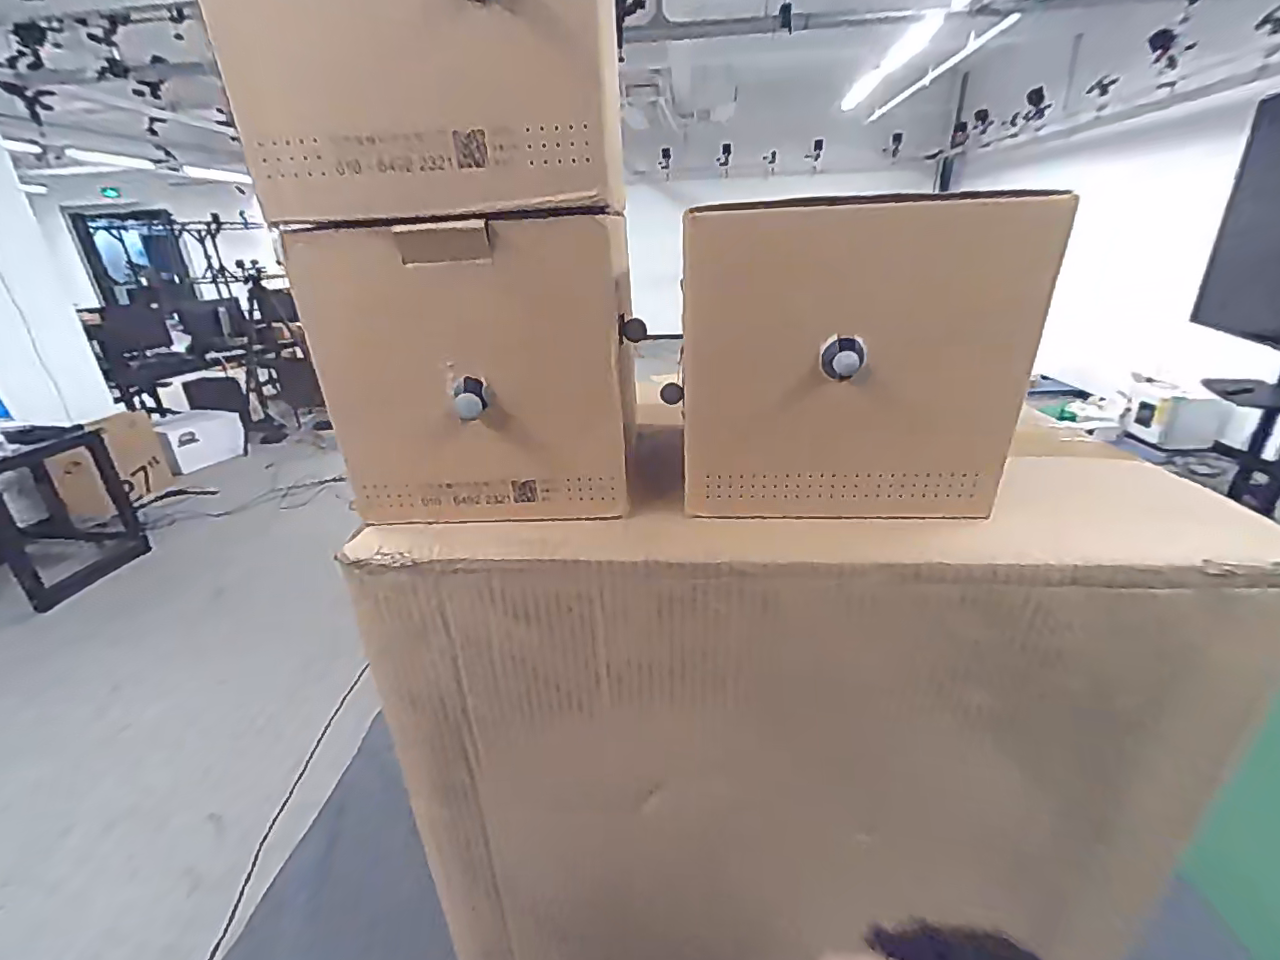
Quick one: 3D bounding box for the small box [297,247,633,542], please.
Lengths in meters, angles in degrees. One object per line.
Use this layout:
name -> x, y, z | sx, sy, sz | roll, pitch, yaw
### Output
small box -> -0.092, -0.065, 0.387 | 0.168, 0.176, 0.179 | -4, 25, 1

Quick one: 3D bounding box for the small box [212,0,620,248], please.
small box -> -0.100, -0.227, 0.305 | 0.168, 0.176, 0.179 | -1, 24, 2
